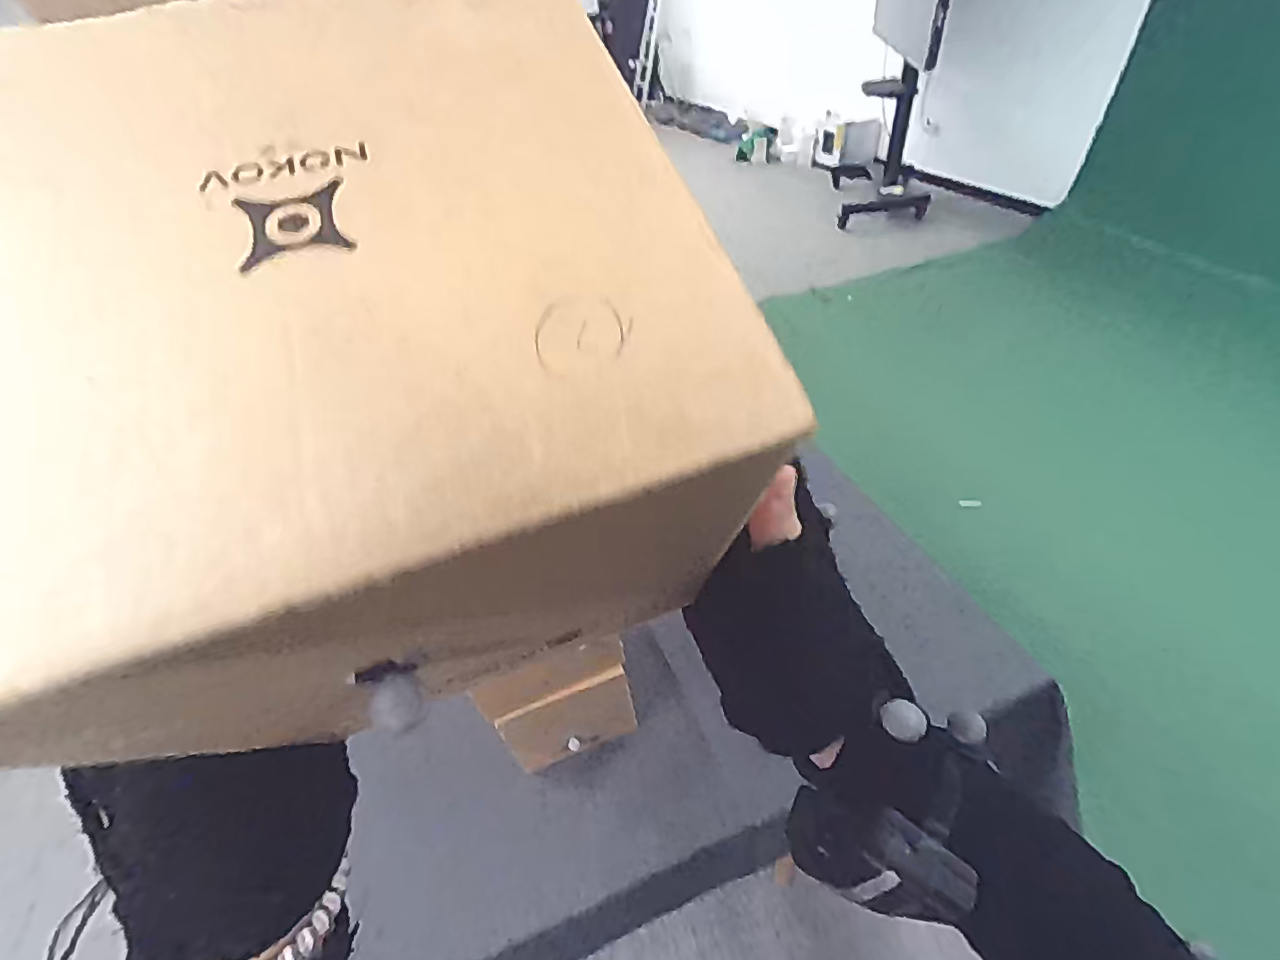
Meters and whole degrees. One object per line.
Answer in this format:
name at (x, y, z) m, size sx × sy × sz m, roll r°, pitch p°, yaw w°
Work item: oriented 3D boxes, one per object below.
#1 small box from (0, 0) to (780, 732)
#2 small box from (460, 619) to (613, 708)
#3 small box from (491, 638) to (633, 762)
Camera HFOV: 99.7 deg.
small box at (-0.076, -0.029, 0.198) m, size 0.168 × 0.176 × 0.179 m, roll -18°, pitch 68°, yaw -10°
small box at (-0.138, 0.137, 0.650) m, size 0.179 × 0.176 × 0.168 m, roll -20°, pitch 43°, yaw -13°
small box at (-0.118, 0.256, 0.759) m, size 0.168 × 0.176 × 0.179 m, roll -18°, pitch 44°, yaw -11°
